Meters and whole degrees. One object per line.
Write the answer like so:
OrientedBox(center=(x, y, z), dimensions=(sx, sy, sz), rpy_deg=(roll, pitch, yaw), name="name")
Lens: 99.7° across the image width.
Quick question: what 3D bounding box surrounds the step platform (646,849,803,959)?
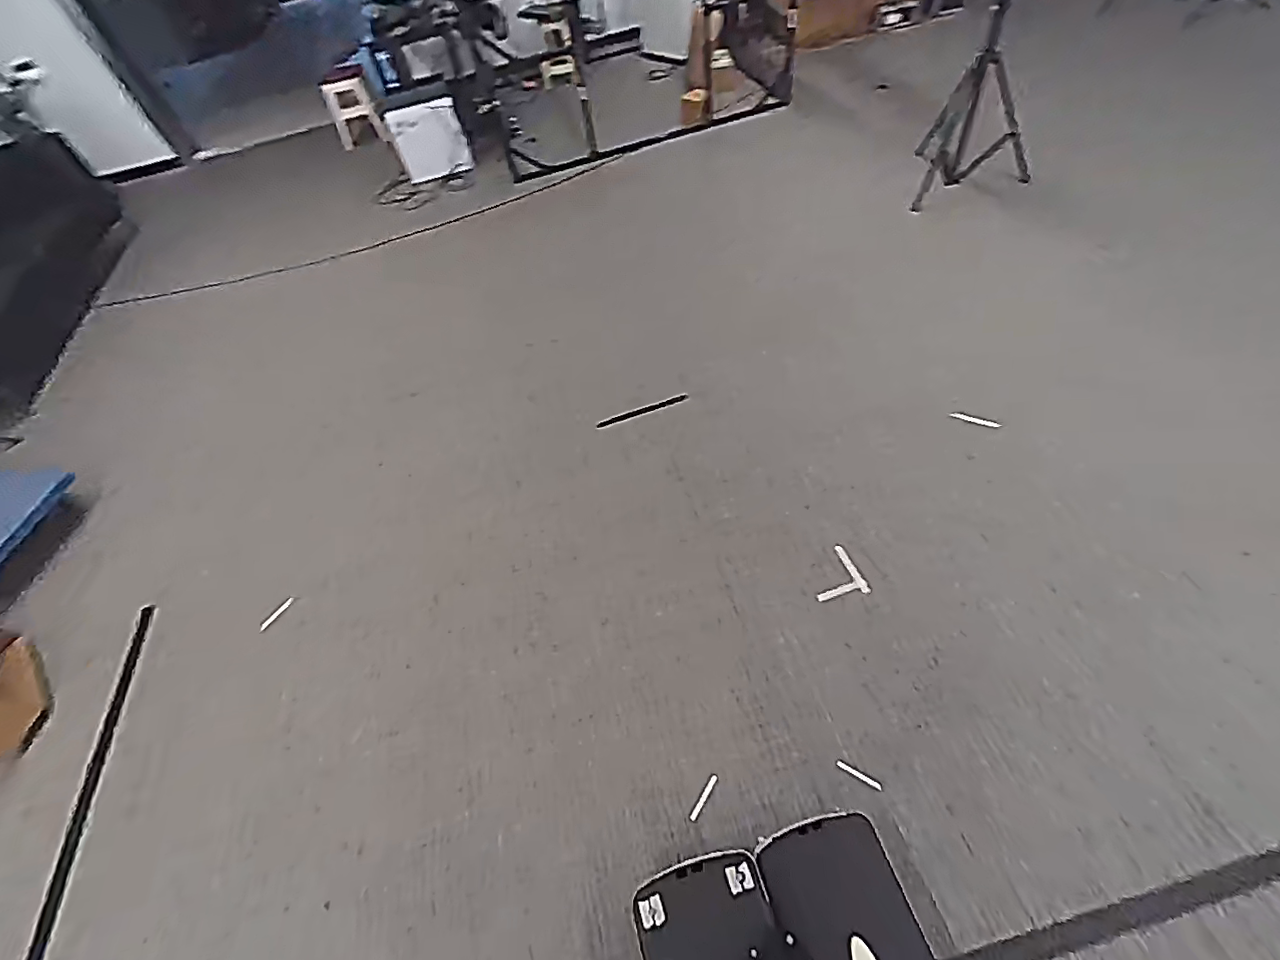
OrientedBox(center=(0.233, 1.123, 1.029), dimensions=(0.286, 0.204, 0.684), rpy_deg=(-18, 52, -4), name="step platform")
